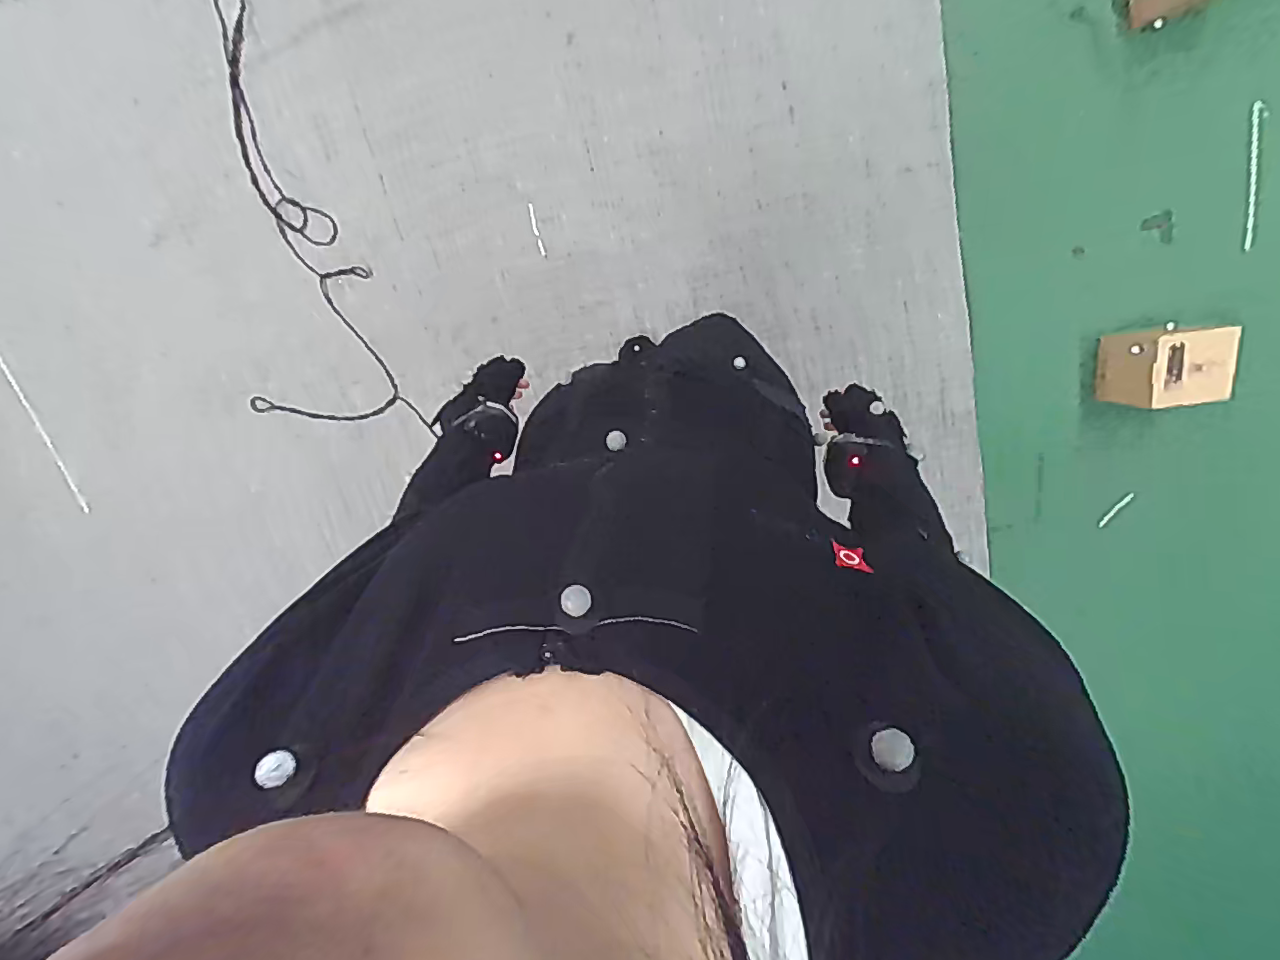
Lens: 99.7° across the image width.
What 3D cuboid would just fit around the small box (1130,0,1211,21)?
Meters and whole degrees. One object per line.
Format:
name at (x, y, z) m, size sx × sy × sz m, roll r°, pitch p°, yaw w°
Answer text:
small box at (1.115, -1.056, 1.066) m, size 0.168 × 0.176 × 0.179 m, roll -16°, pitch 104°, yaw 6°
